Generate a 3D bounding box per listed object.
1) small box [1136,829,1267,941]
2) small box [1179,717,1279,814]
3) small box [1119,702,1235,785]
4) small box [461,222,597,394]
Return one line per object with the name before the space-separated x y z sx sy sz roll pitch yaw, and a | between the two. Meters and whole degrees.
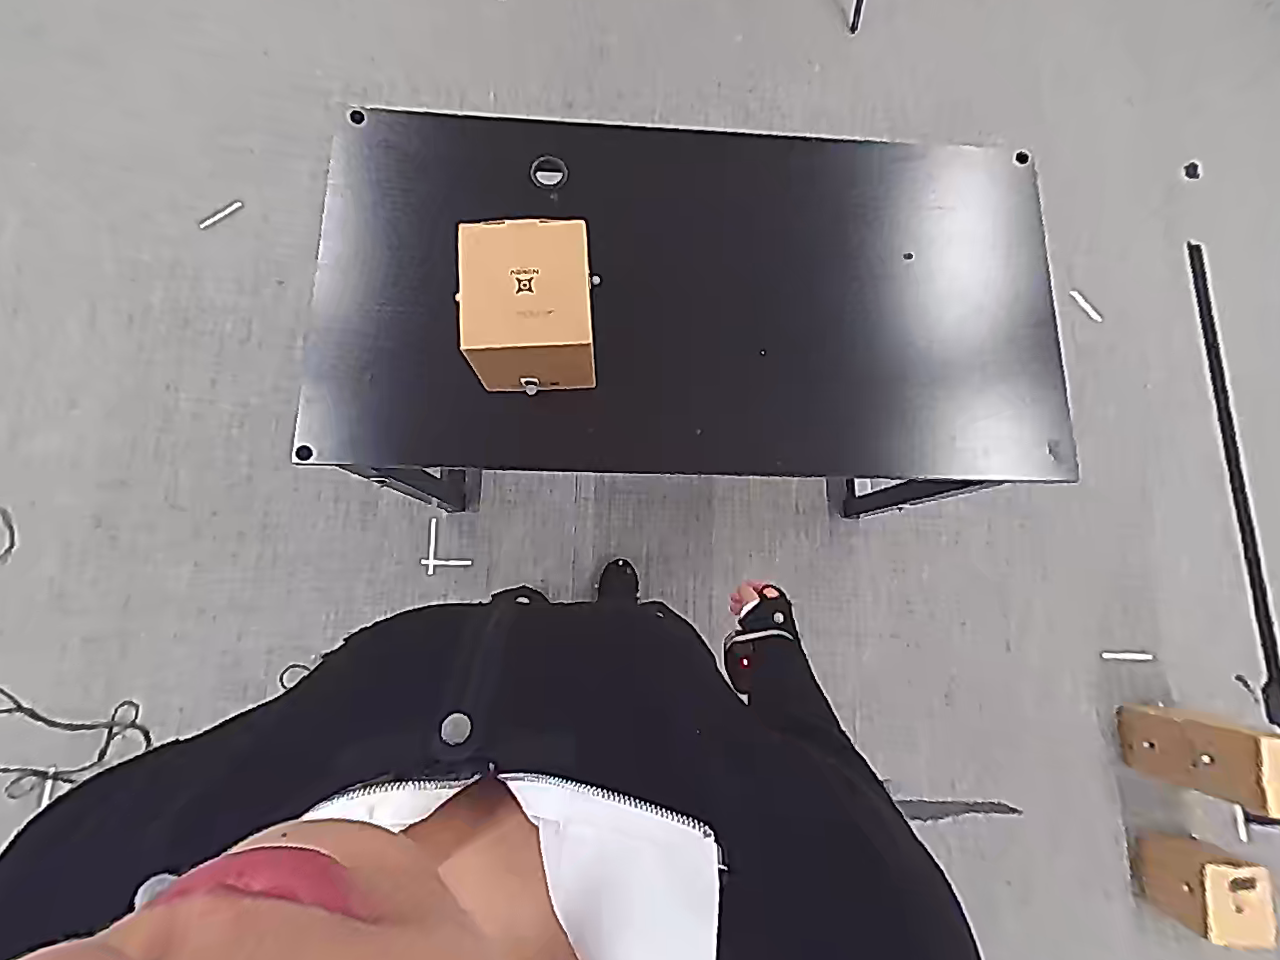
small box | 1.429 1.030 1.390 0.168 0.176 0.179 5 81 -2
small box | 1.449 0.673 1.283 0.179 0.176 0.168 7 79 -2
small box | 1.435 0.701 1.446 0.179 0.176 0.168 1 80 -3
small box | -0.149 -0.236 0.768 0.168 0.176 0.179 -4 81 -4
